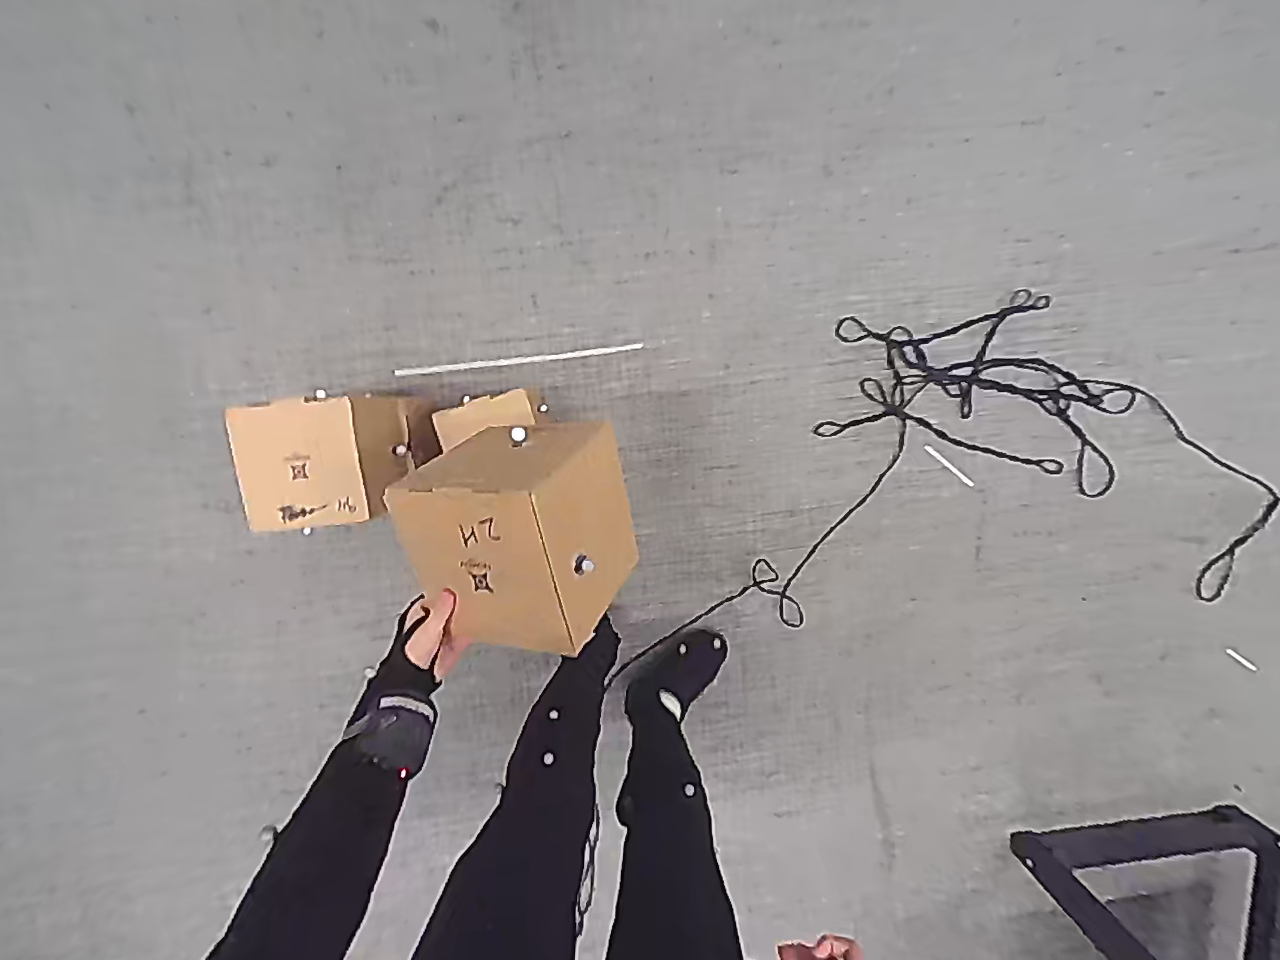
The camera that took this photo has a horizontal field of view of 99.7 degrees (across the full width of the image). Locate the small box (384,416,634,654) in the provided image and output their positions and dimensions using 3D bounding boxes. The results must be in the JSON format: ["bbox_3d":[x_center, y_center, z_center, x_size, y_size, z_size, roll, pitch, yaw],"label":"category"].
[{"bbox_3d":[-0.116,0.045,0.556,0.168,0.176,0.179,2,116,22],"label":"small box"}]

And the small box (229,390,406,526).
[{"bbox_3d":[-0.468,-0.038,0.817,0.168,0.176,0.179,-5,98,-2],"label":"small box"}]

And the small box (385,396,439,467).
[{"bbox_3d":[-0.472,-0.064,0.979,0.179,0.176,0.168,-7,98,-2],"label":"small box"}]

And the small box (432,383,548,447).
[{"bbox_3d":[-0.252,-0.070,0.992,0.168,0.176,0.179,-16,100,0],"label":"small box"}]
